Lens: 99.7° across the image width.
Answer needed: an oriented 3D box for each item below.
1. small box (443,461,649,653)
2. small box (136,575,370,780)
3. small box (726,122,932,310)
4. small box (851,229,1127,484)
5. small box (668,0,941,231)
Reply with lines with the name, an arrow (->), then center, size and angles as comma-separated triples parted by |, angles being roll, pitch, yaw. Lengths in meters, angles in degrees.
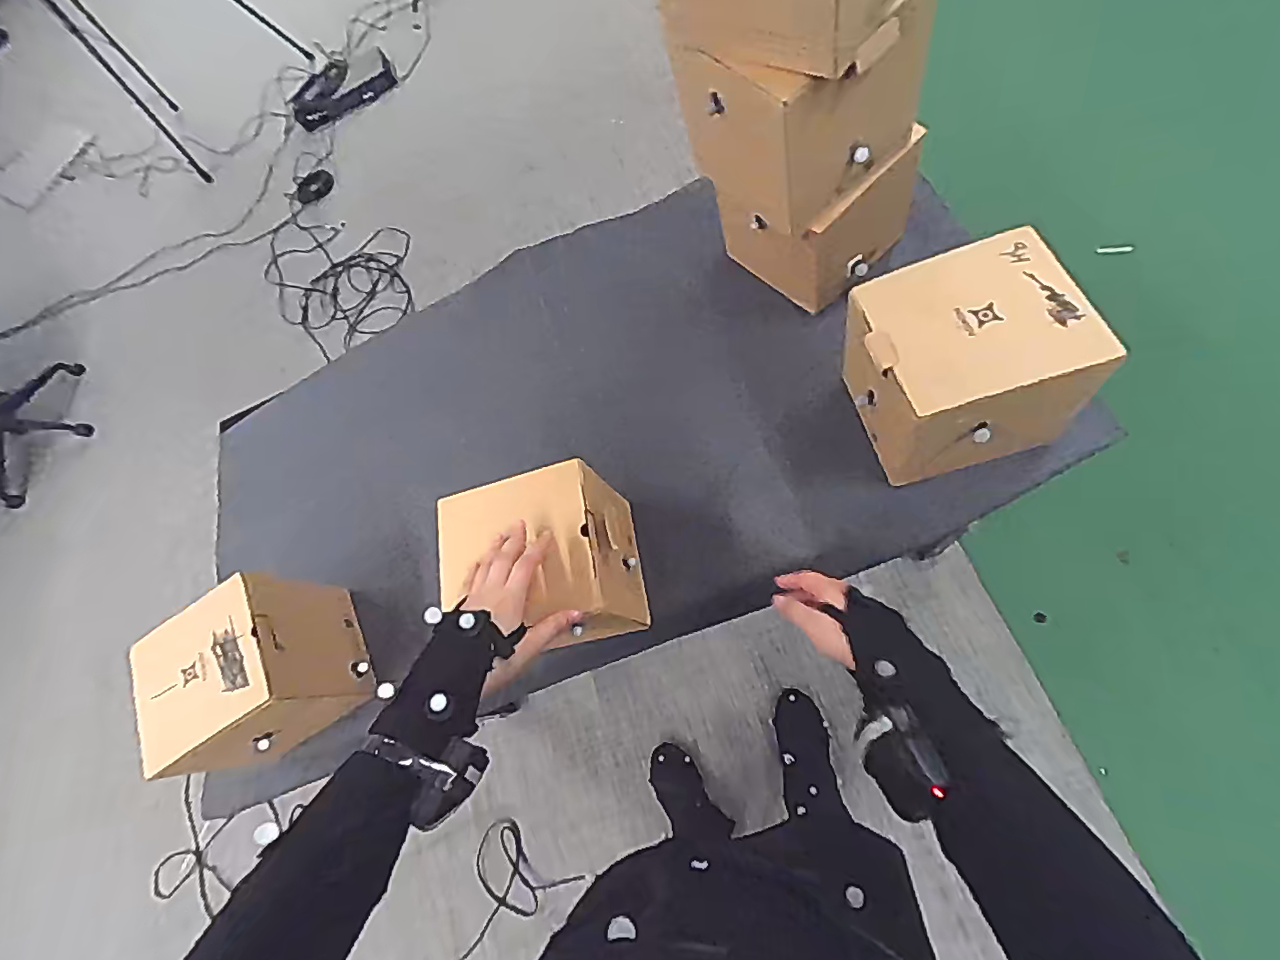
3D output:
small box -> -0.105, 0.102, 0.631 | 0.179, 0.176, 0.168 | -16, 67, 11
small box -> -0.478, 0.243, 0.691 | 0.179, 0.176, 0.168 | -33, 66, 4
small box -> 0.225, -0.353, 0.688 | 0.168, 0.176, 0.179 | -44, 67, 1
small box -> 0.335, -0.114, 0.568 | 0.179, 0.176, 0.168 | -18, 64, 11
small box -> 0.158, -0.393, 0.541 | 0.168, 0.176, 0.179 | -40, 66, 4
